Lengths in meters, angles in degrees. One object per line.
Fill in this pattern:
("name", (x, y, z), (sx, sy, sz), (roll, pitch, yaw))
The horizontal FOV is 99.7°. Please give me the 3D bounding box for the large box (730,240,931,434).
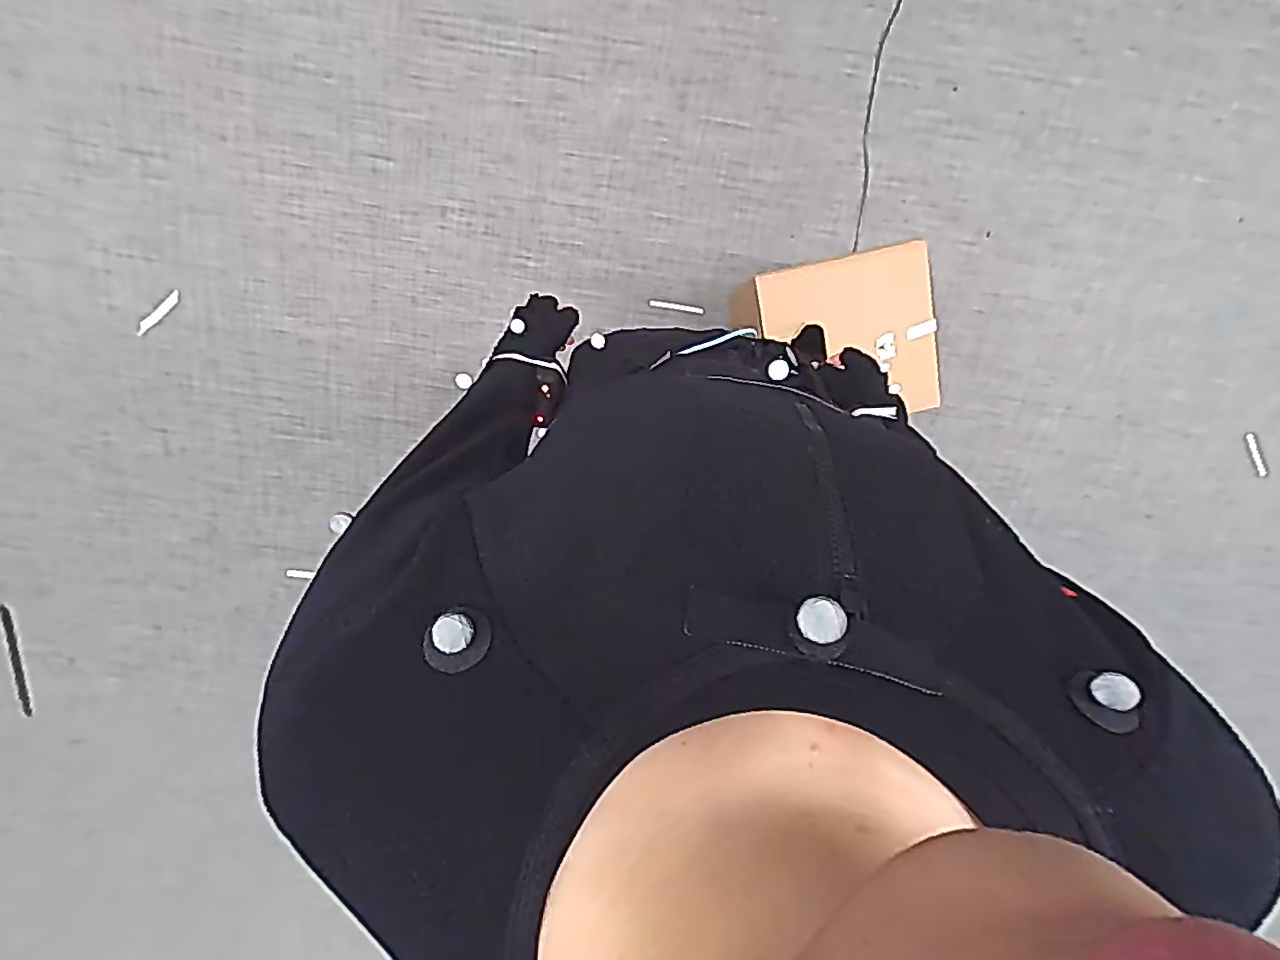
("large box", (0.398, -0.310, 1.211), (0.320, 0.408, 0.320), (-10, 104, 7))
